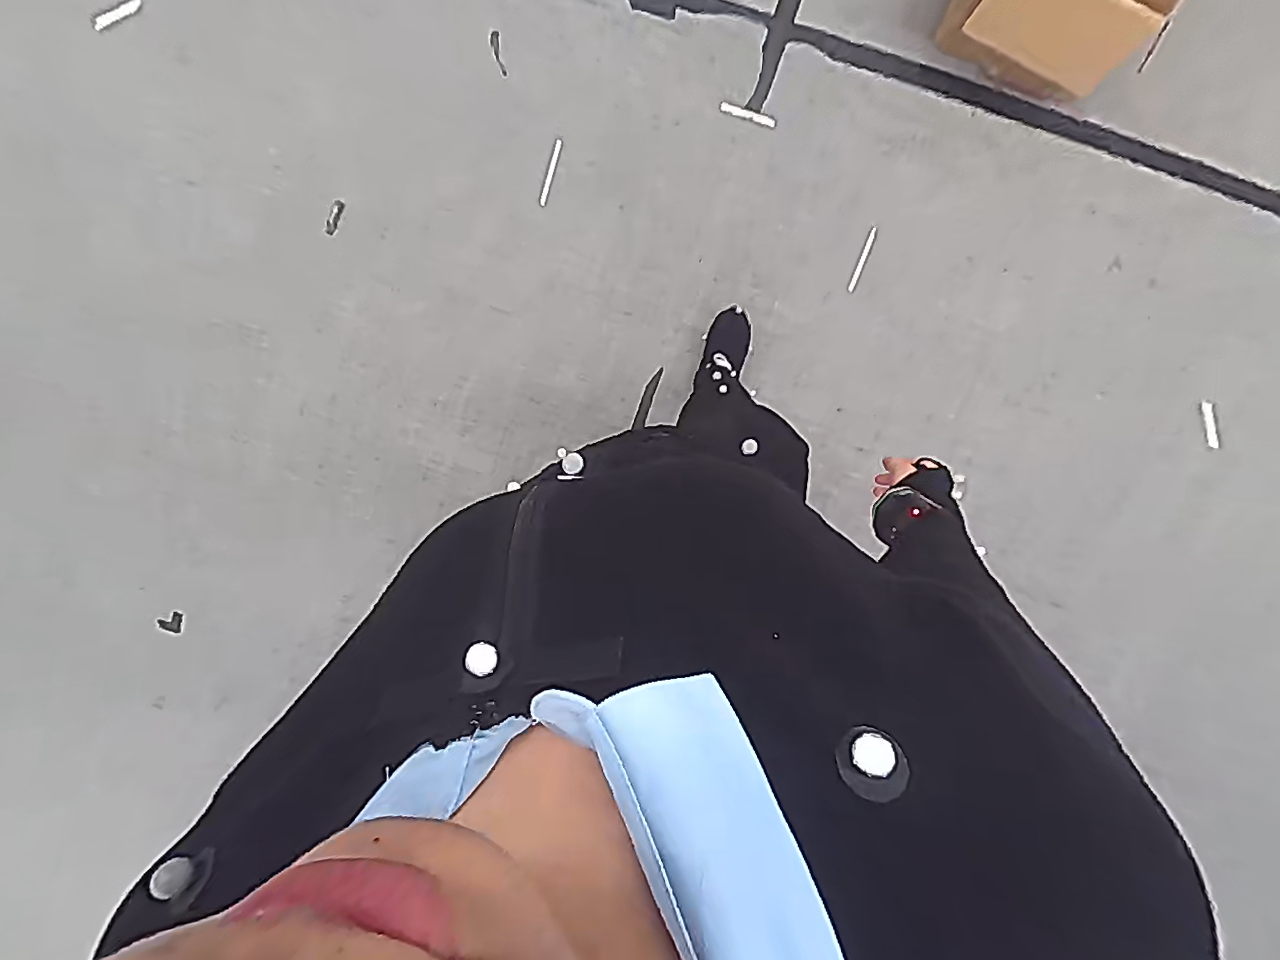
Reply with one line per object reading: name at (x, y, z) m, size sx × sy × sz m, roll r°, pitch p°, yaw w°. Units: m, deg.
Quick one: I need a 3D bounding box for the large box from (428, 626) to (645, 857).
large box at (-0.218, 0.590, 1.272) m, size 0.408 × 0.320 × 0.320 m, roll 15°, pitch 100°, yaw -1°
